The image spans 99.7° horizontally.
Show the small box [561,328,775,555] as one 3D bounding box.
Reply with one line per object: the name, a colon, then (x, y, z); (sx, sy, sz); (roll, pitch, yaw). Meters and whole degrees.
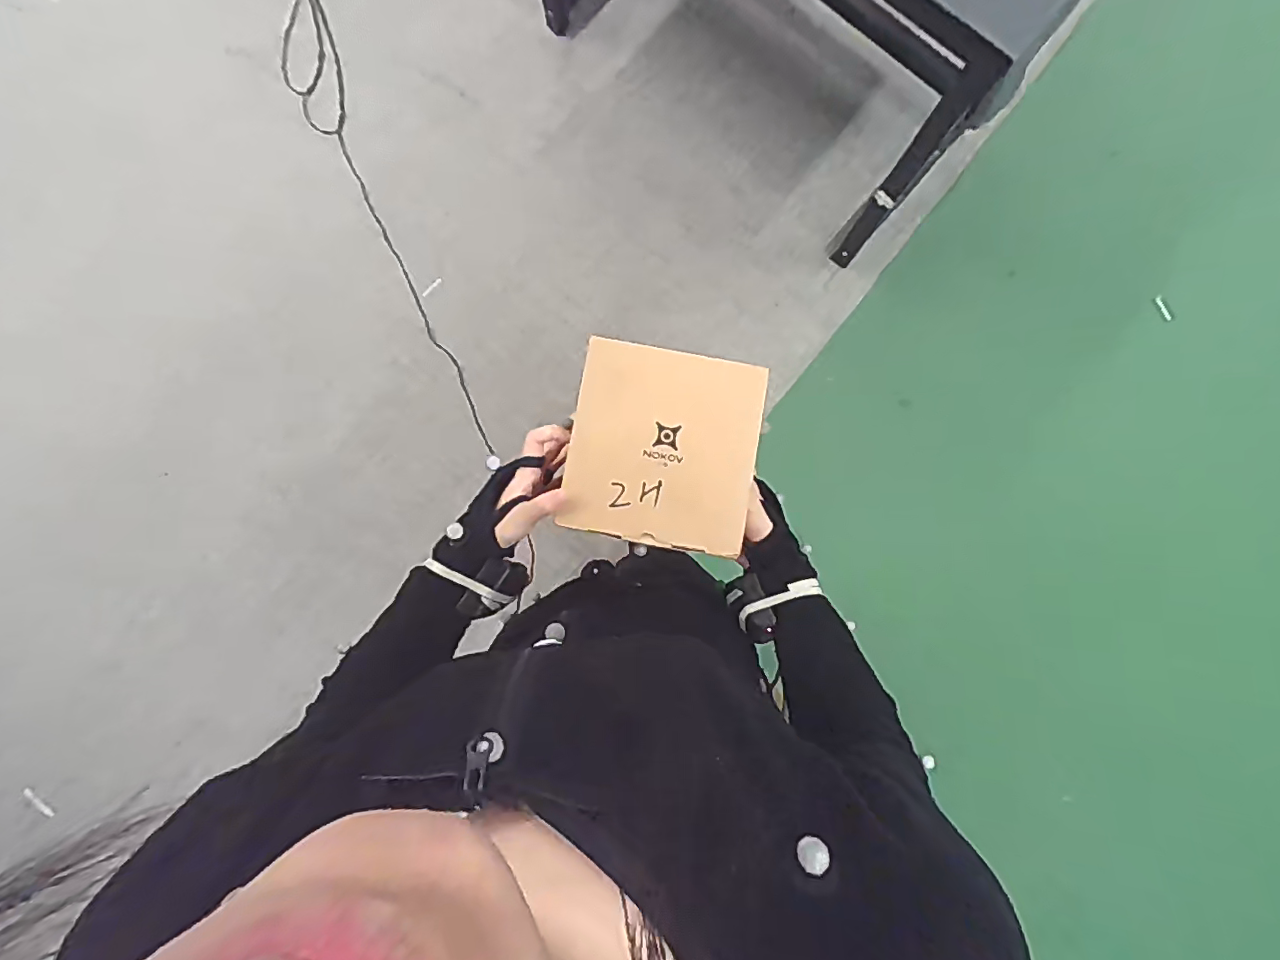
small box: (0.021, -0.026, 0.545); (0.168, 0.176, 0.179); (10, 84, -3)
